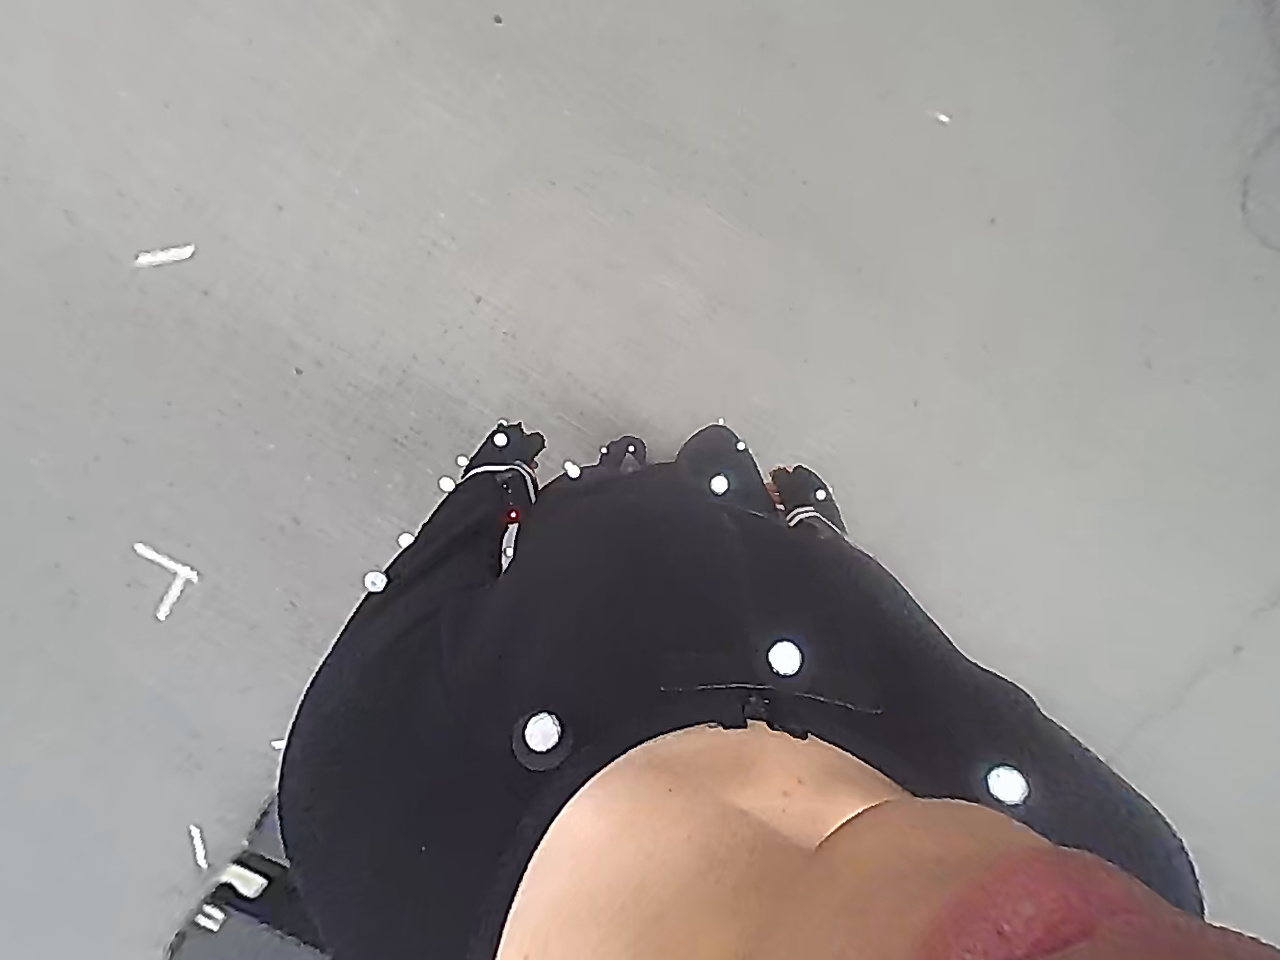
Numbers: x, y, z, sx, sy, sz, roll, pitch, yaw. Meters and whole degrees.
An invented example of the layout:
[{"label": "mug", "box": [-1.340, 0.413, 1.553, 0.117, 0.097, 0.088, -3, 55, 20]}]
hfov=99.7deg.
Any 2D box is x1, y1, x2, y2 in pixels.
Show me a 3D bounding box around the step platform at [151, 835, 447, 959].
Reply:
[{"label": "step platform", "box": [-0.885, 1.262, 1.435, 0.684, 0.204, 0.286, 31, 92, -4]}]
